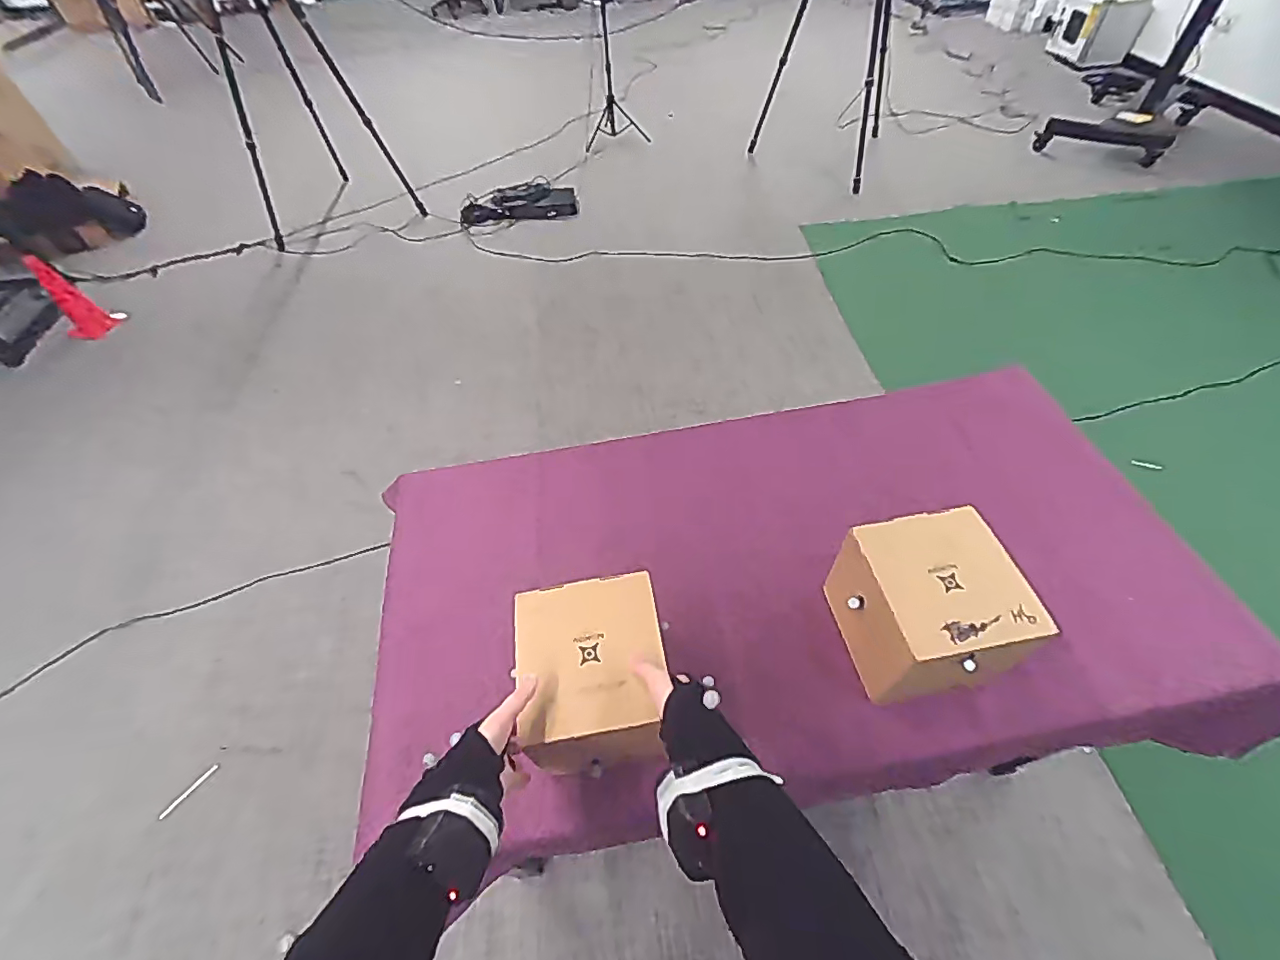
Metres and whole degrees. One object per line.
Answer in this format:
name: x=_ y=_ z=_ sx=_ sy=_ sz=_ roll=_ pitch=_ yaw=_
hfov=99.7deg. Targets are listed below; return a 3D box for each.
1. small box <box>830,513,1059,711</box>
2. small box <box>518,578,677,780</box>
small box: x=0.363 y=0.170 z=0.690 sx=0.168 sy=0.176 sz=0.179 roll=-10 pitch=51 yaw=-3
small box: x=-0.050 y=0.246 z=0.664 sx=0.168 sy=0.176 sz=0.179 roll=-9 pitch=52 yaw=-2
